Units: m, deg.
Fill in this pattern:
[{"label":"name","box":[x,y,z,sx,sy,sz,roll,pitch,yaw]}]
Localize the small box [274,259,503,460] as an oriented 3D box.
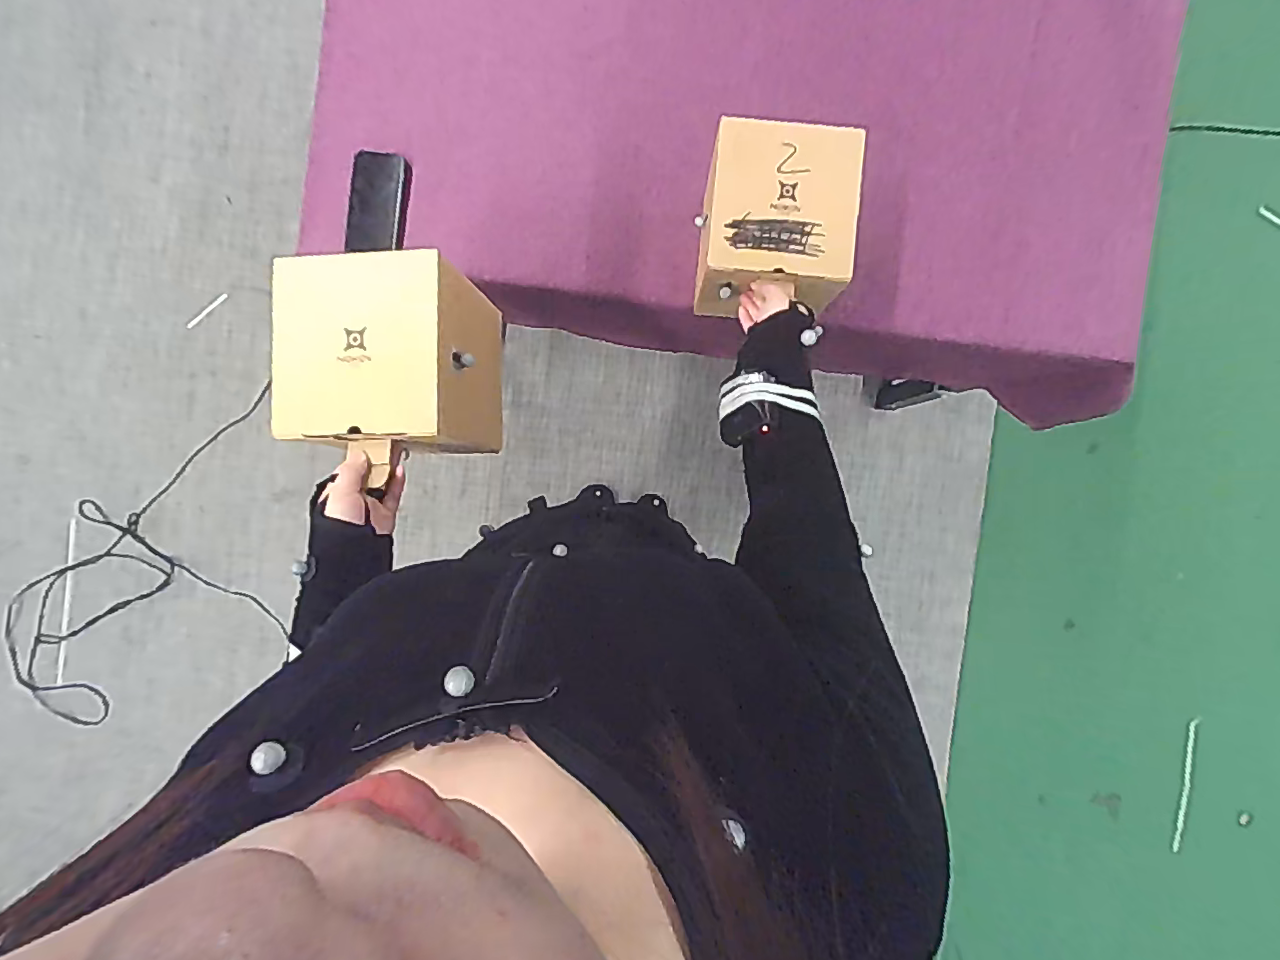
[{"label":"small box","box":[-0.255,-0.117,0.585,0.168,0.176,0.179,0,88,4]}]
